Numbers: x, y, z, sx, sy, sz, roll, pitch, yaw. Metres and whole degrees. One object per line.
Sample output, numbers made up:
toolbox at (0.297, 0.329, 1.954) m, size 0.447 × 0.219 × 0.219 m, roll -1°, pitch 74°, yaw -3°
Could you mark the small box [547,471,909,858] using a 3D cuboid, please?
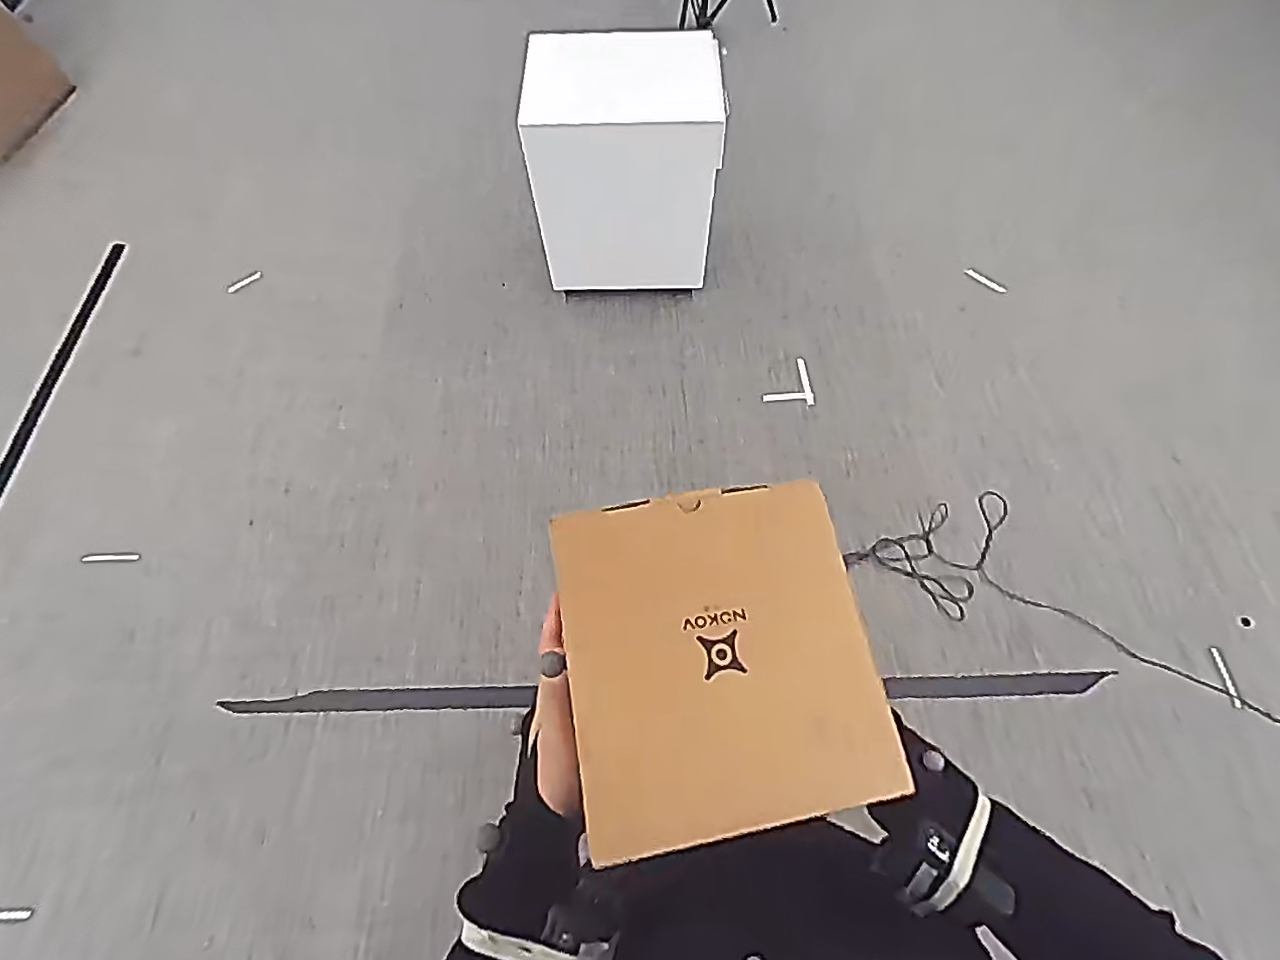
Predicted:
small box at (0.036, 0.113, 0.362) m, size 0.168 × 0.176 × 0.179 m, roll -8°, pitch 69°, yaw -8°
